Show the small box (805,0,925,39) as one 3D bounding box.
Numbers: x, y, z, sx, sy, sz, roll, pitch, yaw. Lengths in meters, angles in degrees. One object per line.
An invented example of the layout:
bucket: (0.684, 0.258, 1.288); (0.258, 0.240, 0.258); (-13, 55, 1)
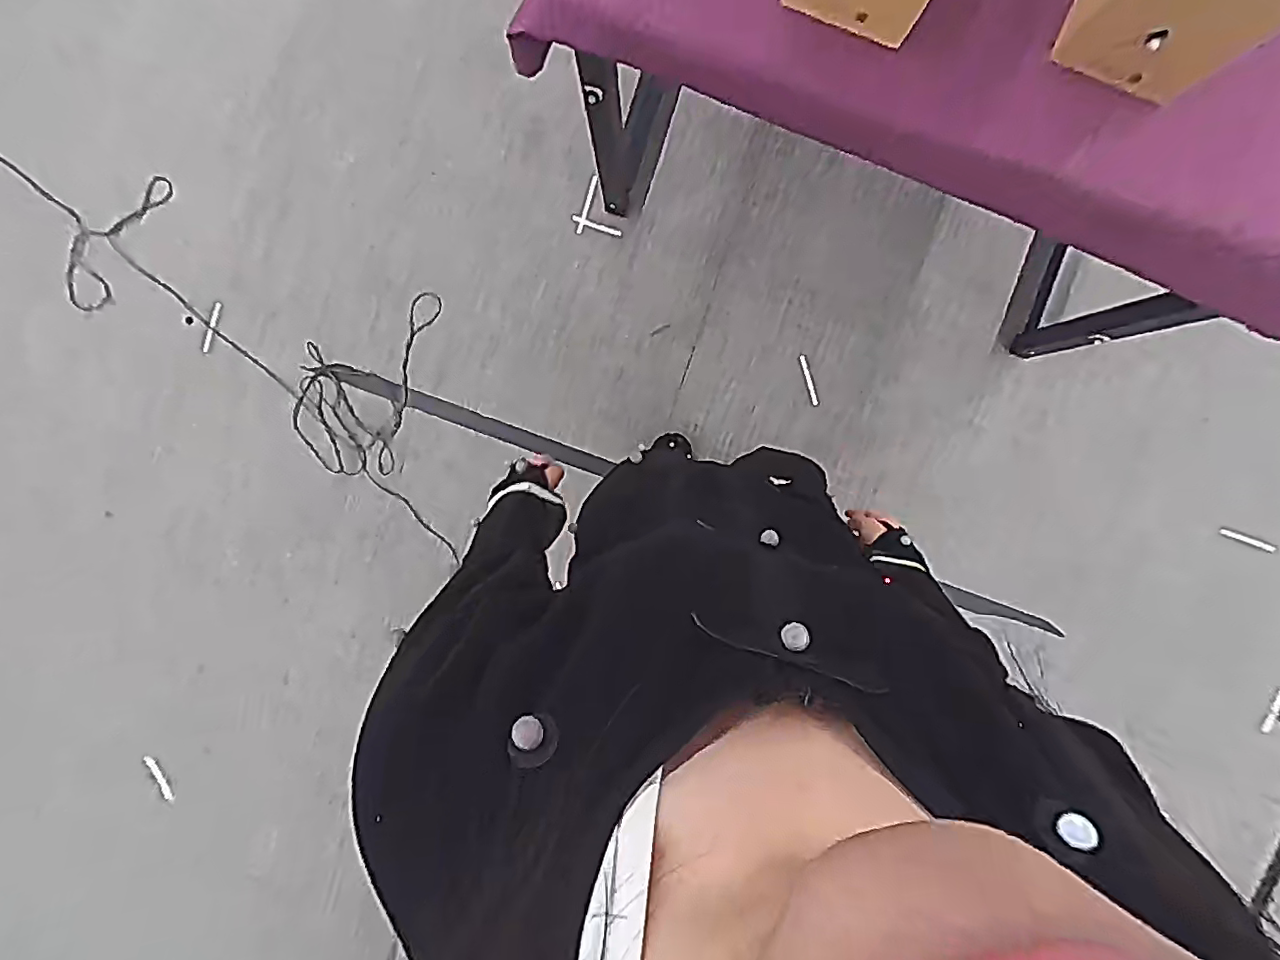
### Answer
small box: (0.289, -0.665, 0.615); (0.168, 0.176, 0.179); (20, 94, -1)

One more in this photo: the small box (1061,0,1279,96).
small box: (0.637, -0.592, 0.615); (0.168, 0.176, 0.179); (22, 94, -1)
